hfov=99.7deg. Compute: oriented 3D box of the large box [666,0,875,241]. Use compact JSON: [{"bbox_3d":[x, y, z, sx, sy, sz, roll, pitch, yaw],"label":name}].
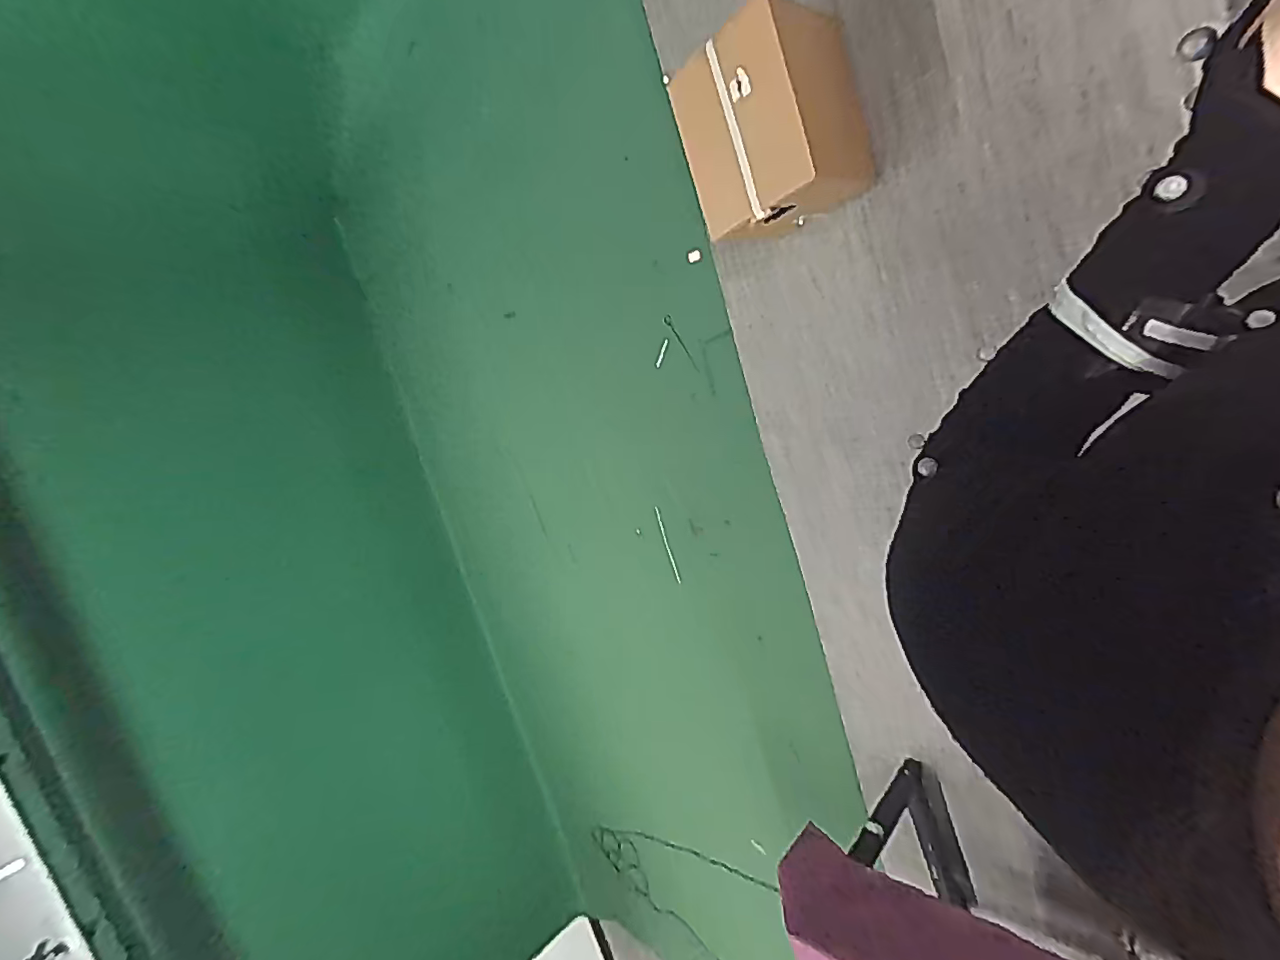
[{"bbox_3d":[0.328,-0.866,1.351,0.320,0.320,0.408,-10,100,50],"label":"large box"}]
